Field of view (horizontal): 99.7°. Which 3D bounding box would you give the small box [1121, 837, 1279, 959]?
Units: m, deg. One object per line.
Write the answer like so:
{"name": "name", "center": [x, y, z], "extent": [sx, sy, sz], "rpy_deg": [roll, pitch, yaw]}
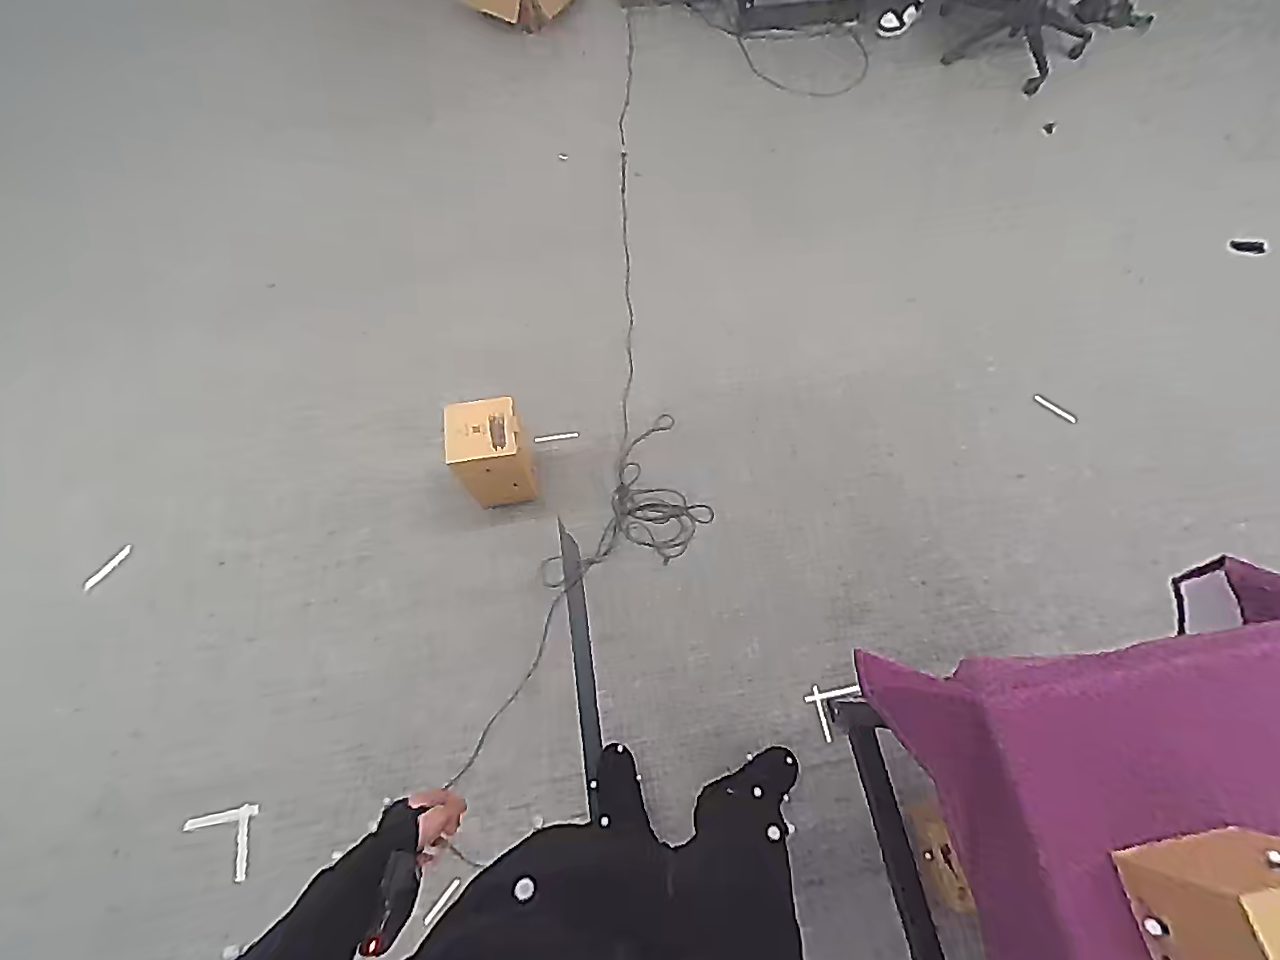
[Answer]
{"name": "small box", "center": [0.685, 0.502, 0.571], "extent": [0.179, 0.176, 0.168], "rpy_deg": [-8, 69, -3]}

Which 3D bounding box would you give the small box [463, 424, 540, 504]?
{"name": "small box", "center": [-0.397, -0.040, 1.565], "extent": [0.179, 0.176, 0.168], "rpy_deg": [-10, 69, -4]}
